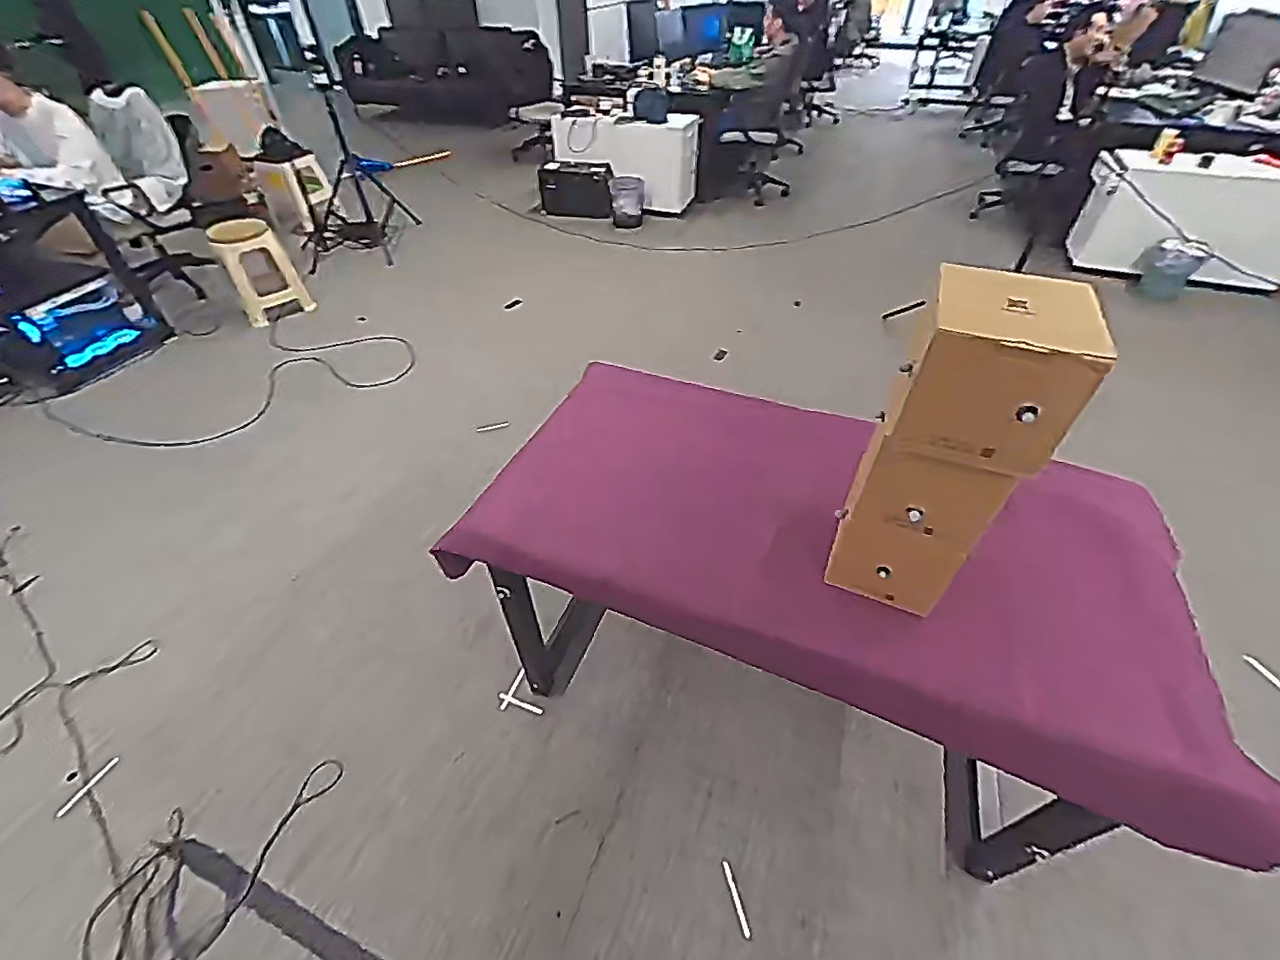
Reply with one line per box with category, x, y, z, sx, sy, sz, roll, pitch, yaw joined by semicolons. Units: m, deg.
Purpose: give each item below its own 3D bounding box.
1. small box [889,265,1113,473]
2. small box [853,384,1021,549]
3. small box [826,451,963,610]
small box;0.415;-0.134;0.654;0.168;0.176;0.179;16;46;15
small box;0.423;-0.033;0.783;0.168;0.176;0.179;17;48;18
small box;0.420;0.085;0.897;0.168;0.176;0.179;18;47;18
